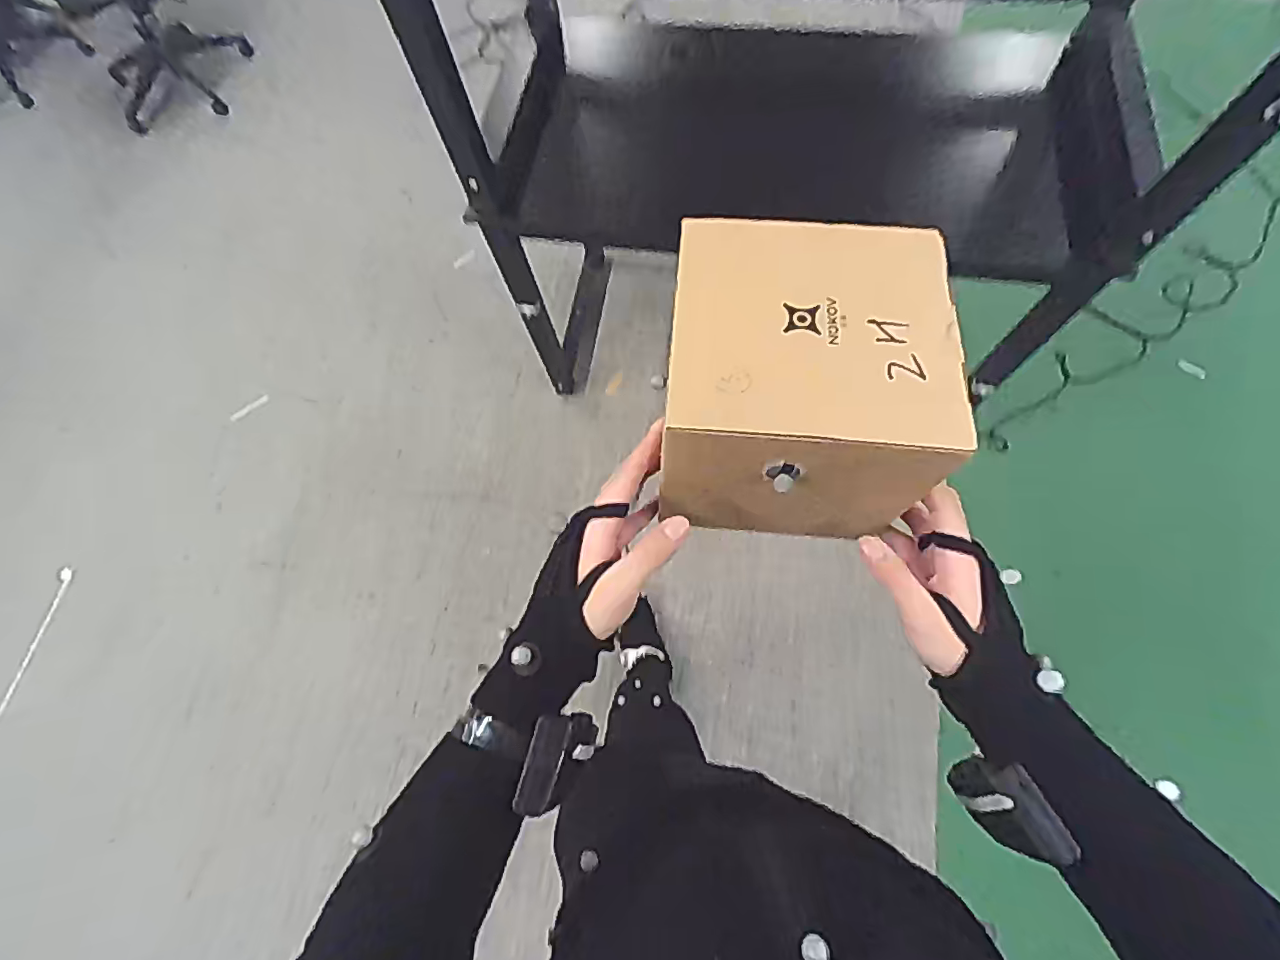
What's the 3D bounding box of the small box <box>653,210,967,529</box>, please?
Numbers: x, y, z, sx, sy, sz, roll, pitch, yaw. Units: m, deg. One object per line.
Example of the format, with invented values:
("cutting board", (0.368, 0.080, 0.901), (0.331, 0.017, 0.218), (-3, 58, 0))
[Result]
("small box", (0.104, -0.071, 0.406), (0.179, 0.176, 0.168), (5, 66, 4))
